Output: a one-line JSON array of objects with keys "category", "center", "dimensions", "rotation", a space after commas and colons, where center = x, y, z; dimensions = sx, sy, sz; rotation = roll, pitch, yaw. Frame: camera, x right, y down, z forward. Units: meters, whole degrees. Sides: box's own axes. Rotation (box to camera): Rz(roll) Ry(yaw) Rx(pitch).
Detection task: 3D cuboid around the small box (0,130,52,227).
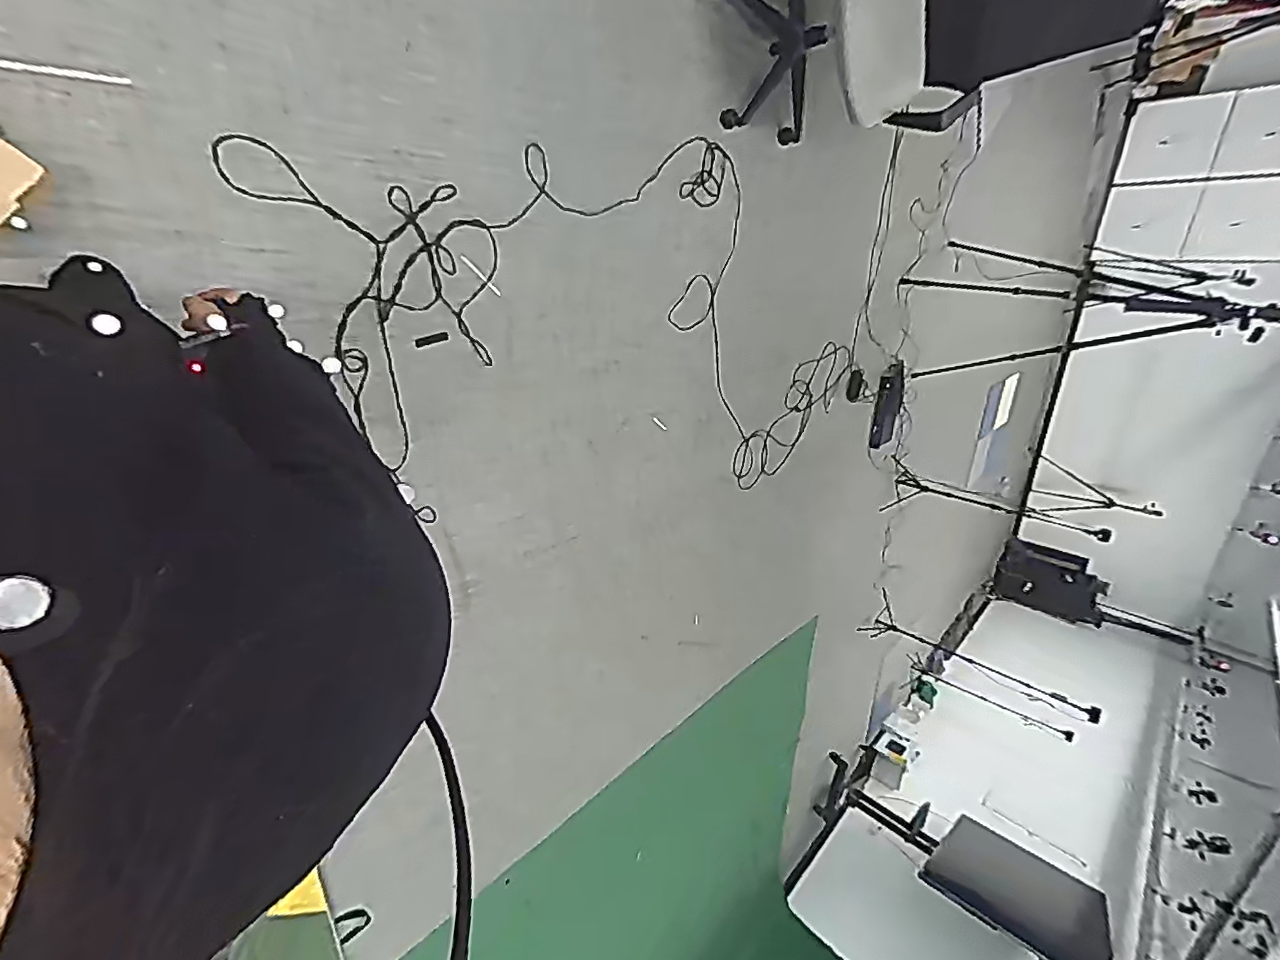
[{"category": "small box", "center": [-0.976, -0.445, 0.744], "dimensions": [0.168, 0.176, 0.179], "rotation": [-58, 137, -12]}]
